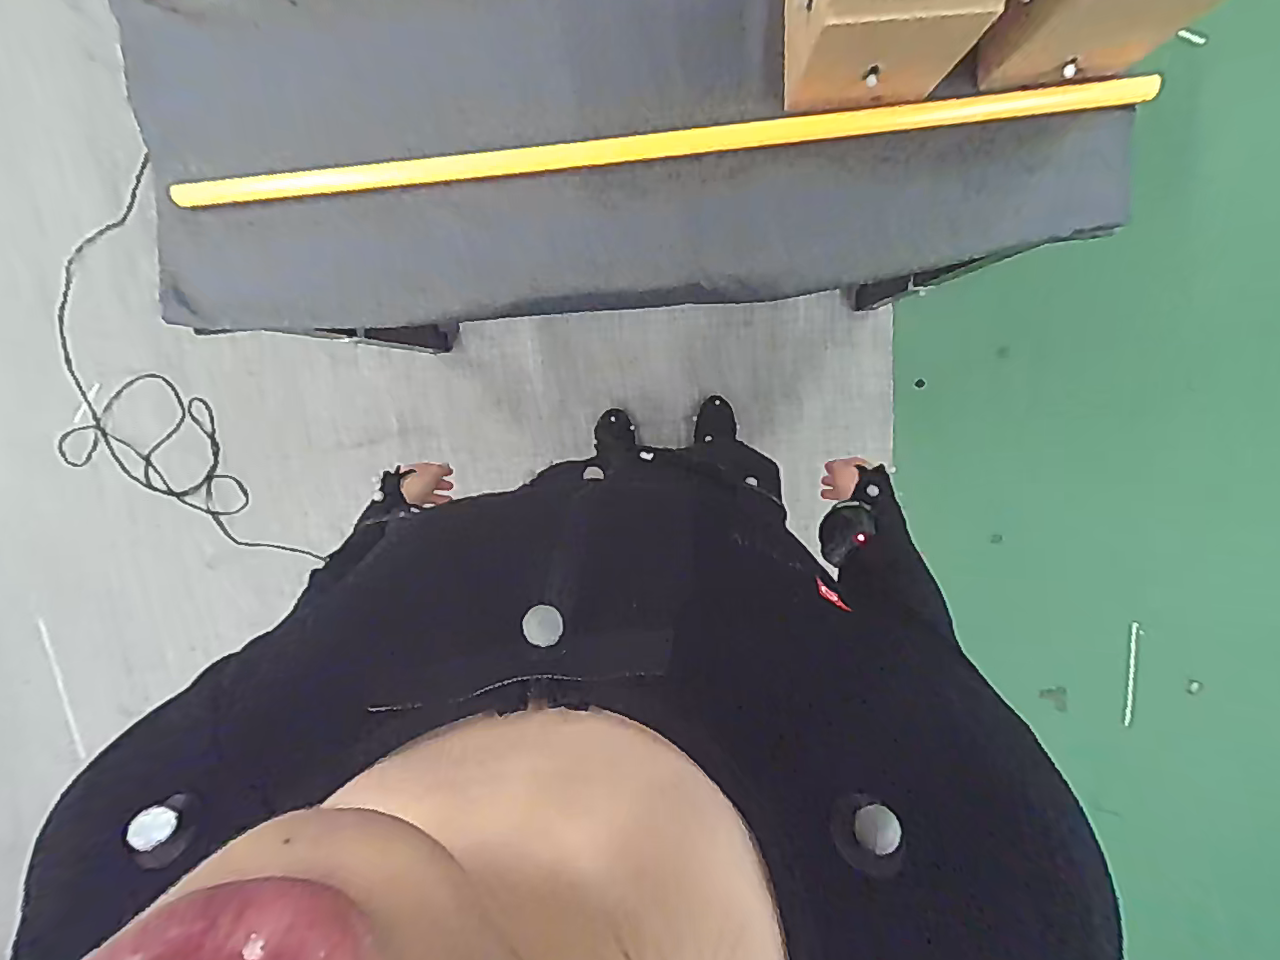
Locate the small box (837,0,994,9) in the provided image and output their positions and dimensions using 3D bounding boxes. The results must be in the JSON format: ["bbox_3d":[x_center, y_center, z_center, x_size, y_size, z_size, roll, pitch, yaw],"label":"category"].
[{"bbox_3d":[0.241,-0.498,0.405,0.168,0.176,0.179,-2,99,3],"label":"small box"}]

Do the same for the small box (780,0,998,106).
[{"bbox_3d":[0.248,-0.522,0.565,0.168,0.176,0.179,-2,99,2],"label":"small box"}]
